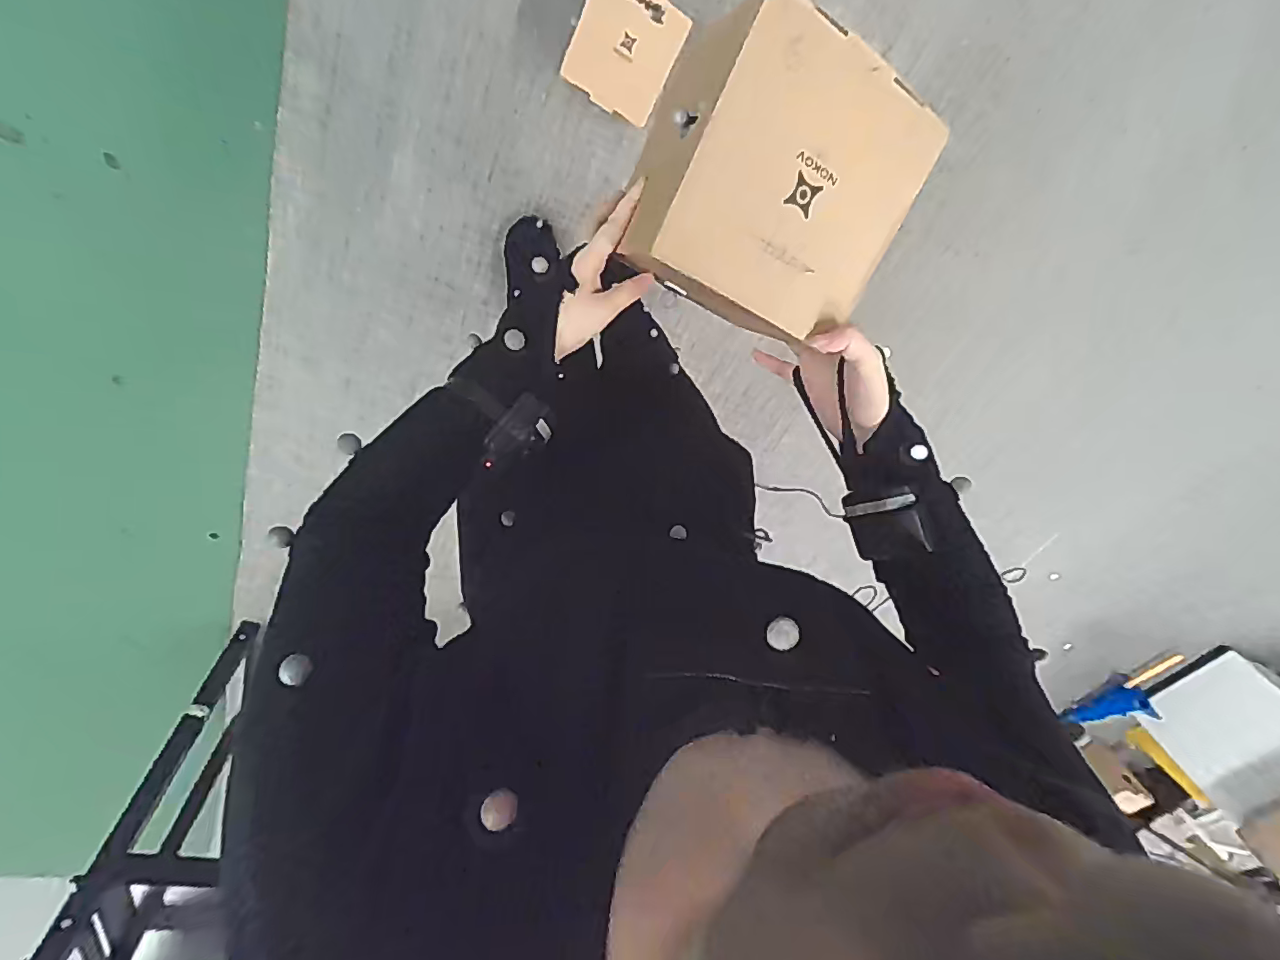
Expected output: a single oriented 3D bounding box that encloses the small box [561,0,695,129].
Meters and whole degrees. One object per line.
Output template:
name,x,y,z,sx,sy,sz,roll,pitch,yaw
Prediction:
small box,-0.026,-0.758,0.954,0.168,0.176,0.179,22,120,-21
